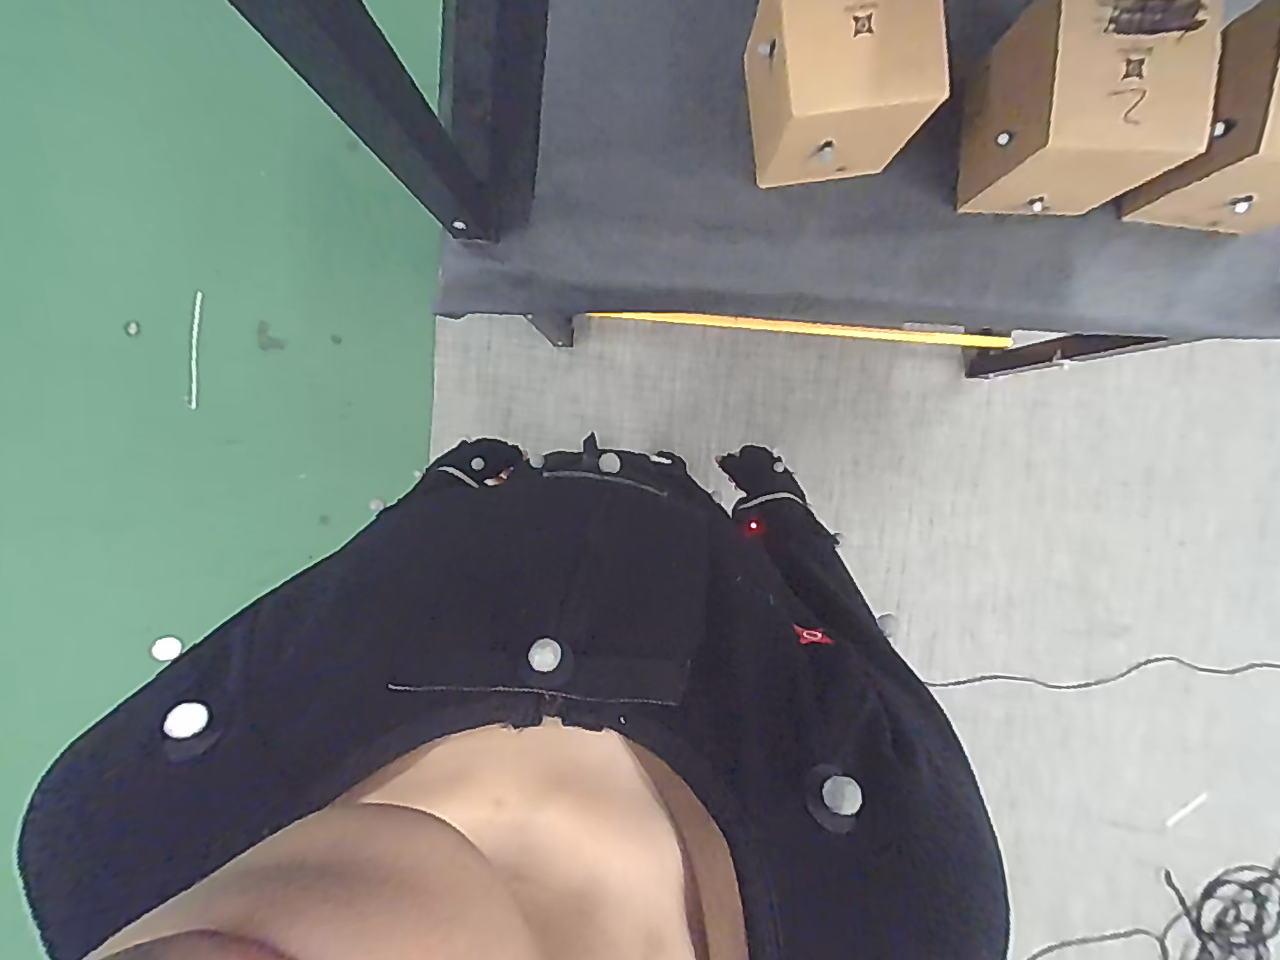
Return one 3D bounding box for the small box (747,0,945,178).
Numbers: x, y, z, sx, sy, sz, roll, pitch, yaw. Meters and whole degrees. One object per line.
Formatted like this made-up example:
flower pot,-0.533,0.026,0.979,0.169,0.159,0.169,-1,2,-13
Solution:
small box,0.227,-0.479,0.633,0.168,0.176,0.179,-7,94,1
